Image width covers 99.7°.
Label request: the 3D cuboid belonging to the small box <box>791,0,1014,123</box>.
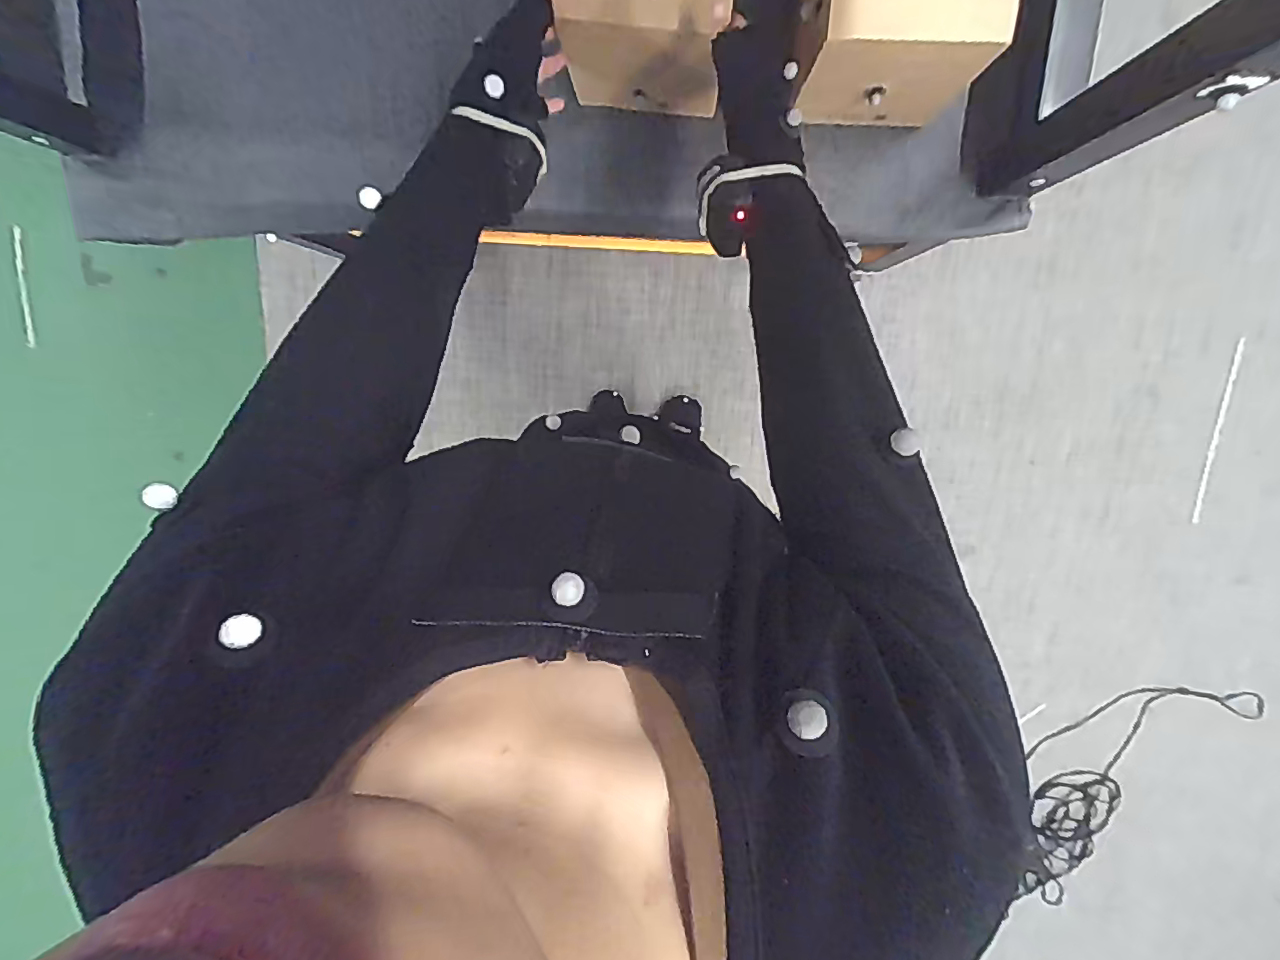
[{"bbox_3d":[0.258,-0.494,0.552,0.168,0.176,0.179,3,101,2],"label":"small box"}]
